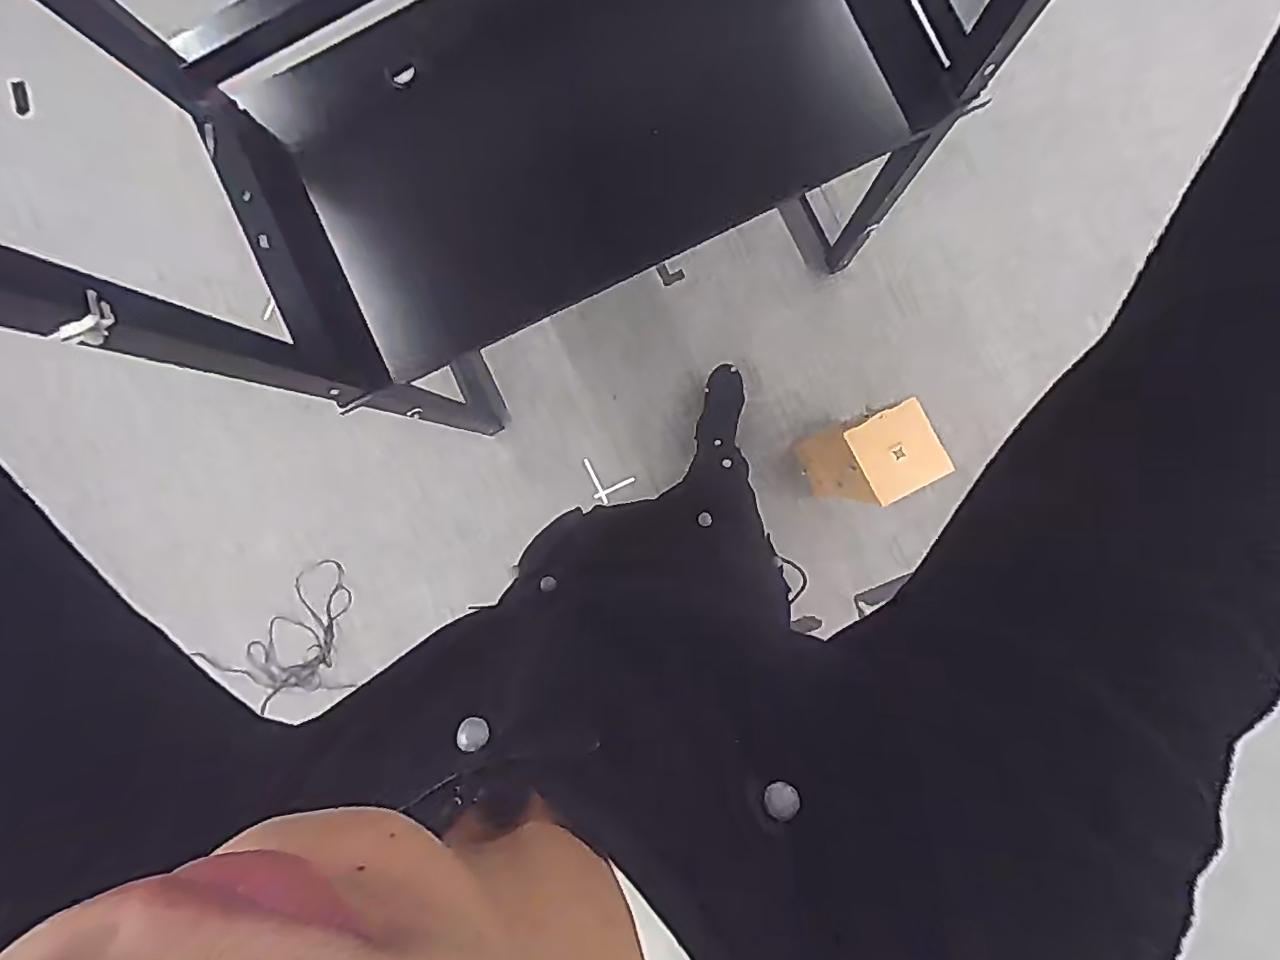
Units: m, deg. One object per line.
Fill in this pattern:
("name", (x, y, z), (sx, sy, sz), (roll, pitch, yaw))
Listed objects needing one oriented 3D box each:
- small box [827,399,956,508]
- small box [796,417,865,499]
("small box", (0.538, -0.057, 1.180), (0.168, 0.176, 0.179), (-28, 88, 4))
("small box", (0.559, -0.060, 1.507), (0.179, 0.176, 0.168), (-27, 87, 5))
